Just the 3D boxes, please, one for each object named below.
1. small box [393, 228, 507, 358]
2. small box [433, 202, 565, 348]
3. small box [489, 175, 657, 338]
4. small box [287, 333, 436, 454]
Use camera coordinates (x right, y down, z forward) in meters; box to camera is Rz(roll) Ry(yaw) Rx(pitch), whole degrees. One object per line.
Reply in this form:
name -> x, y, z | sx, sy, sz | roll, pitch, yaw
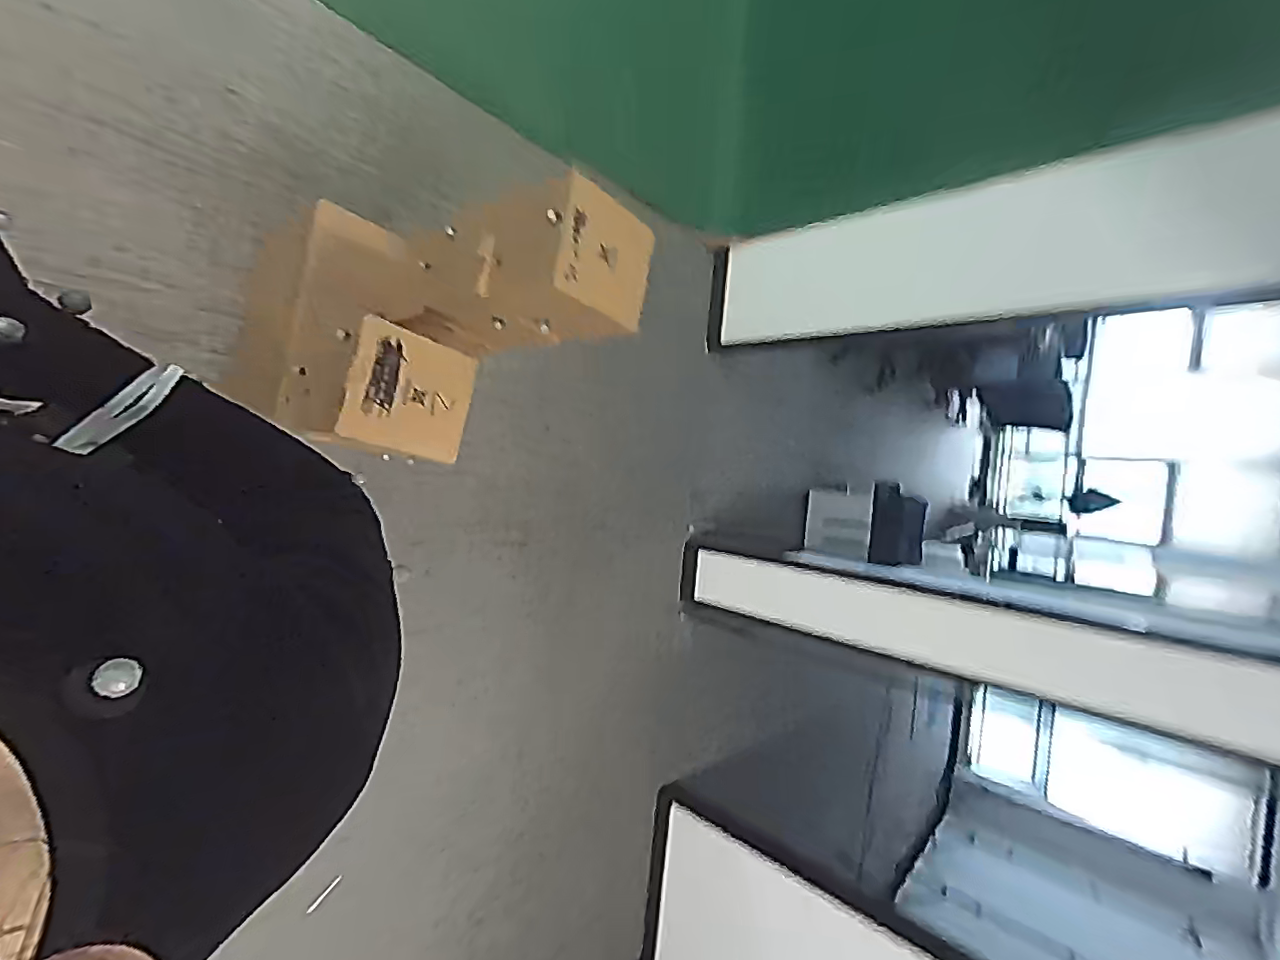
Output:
small box -> -0.352, -0.351, 1.052 | 0.168, 0.176, 0.179 | 22, 80, -47
small box -> -0.229, -0.340, 0.943 | 0.179, 0.176, 0.168 | 25, 77, -48
small box -> -0.102, -0.329, 0.839 | 0.179, 0.176, 0.168 | 15, 84, -49
small box -> -0.484, -0.140, 0.934 | 0.179, 0.176, 0.168 | 10, 88, -48
